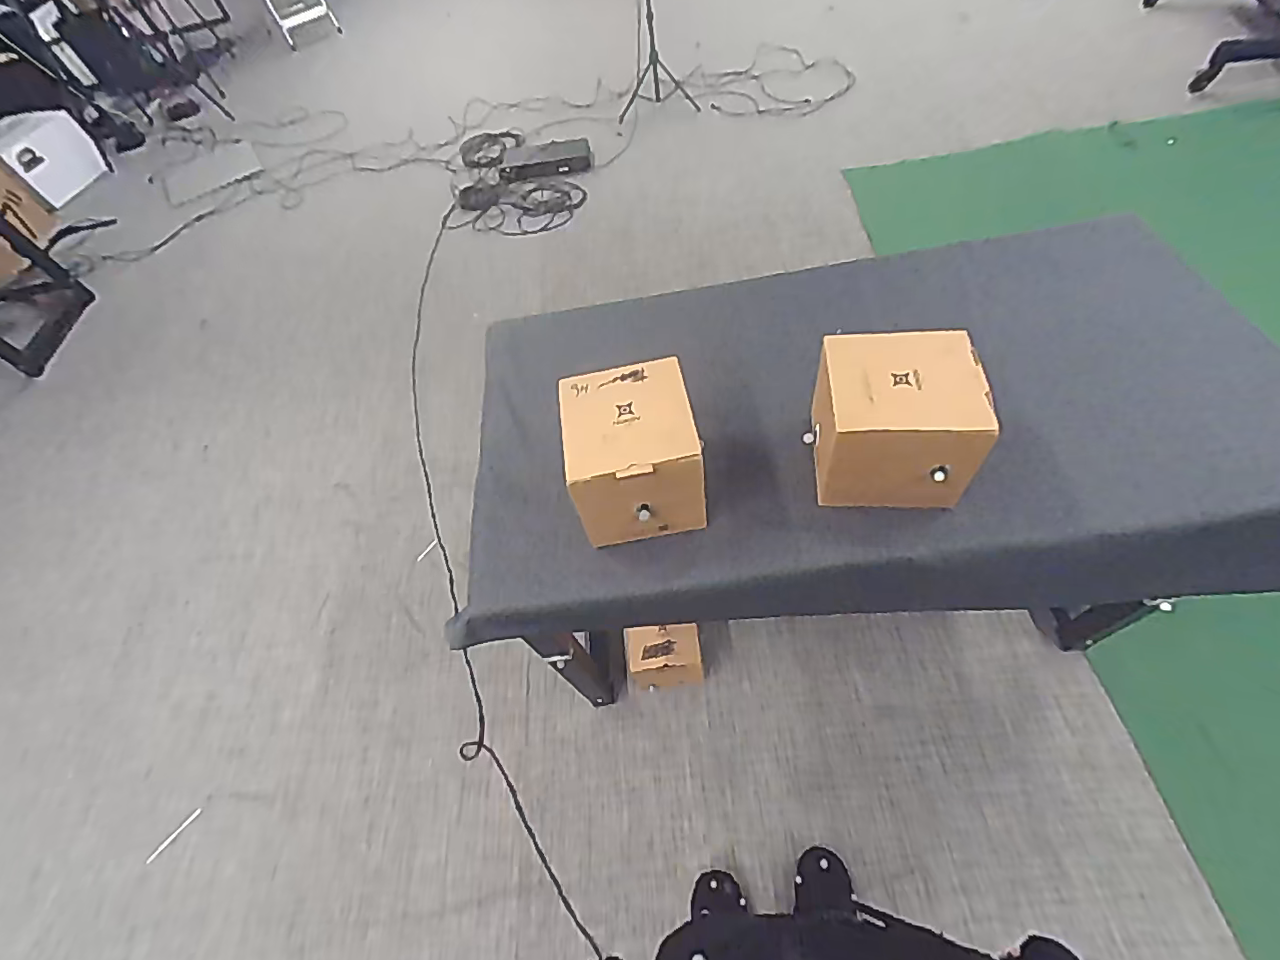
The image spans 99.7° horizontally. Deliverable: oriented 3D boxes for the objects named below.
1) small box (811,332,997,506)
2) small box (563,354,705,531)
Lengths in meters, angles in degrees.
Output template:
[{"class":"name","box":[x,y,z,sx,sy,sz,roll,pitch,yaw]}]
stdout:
[{"class":"small box","box":[0.333,-0.076,0.723,0.179,0.176,0.168,0,56,10]},{"class":"small box","box":[-0.004,-0.042,0.751,0.168,0.176,0.179,-10,56,2]}]
